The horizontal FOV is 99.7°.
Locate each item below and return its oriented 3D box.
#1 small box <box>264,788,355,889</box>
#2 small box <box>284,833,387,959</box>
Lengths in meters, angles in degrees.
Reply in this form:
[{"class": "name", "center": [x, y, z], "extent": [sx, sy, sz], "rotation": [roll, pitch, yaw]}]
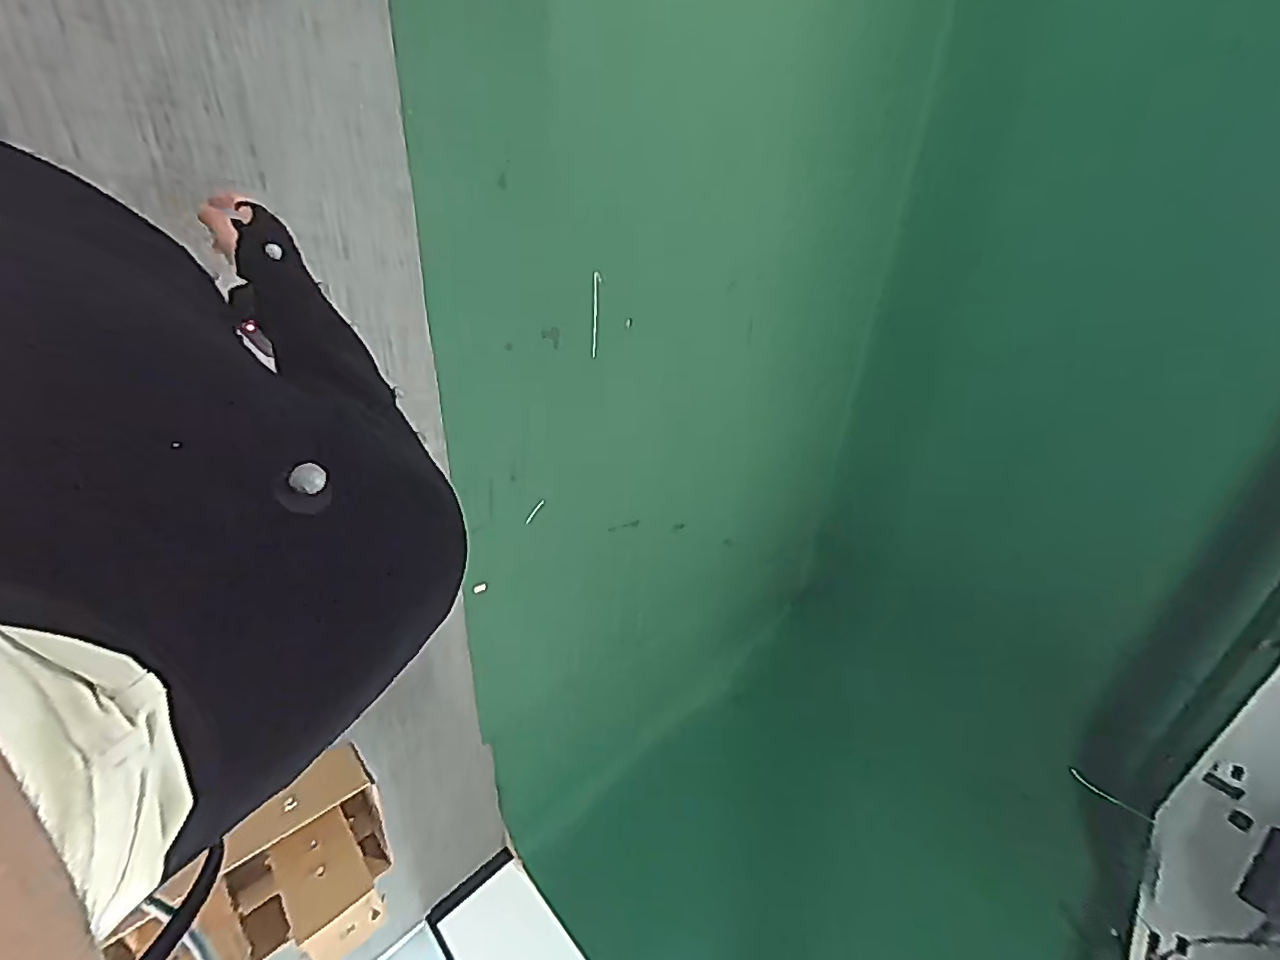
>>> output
[{"class": "small box", "center": [-0.877, 0.983, 1.456], "extent": [0.179, 0.176, 0.168], "rotation": [-21, 126, -37]}, {"class": "small box", "center": [-0.764, 1.044, 1.352], "extent": [0.179, 0.176, 0.168], "rotation": [-23, 128, -37]}]
